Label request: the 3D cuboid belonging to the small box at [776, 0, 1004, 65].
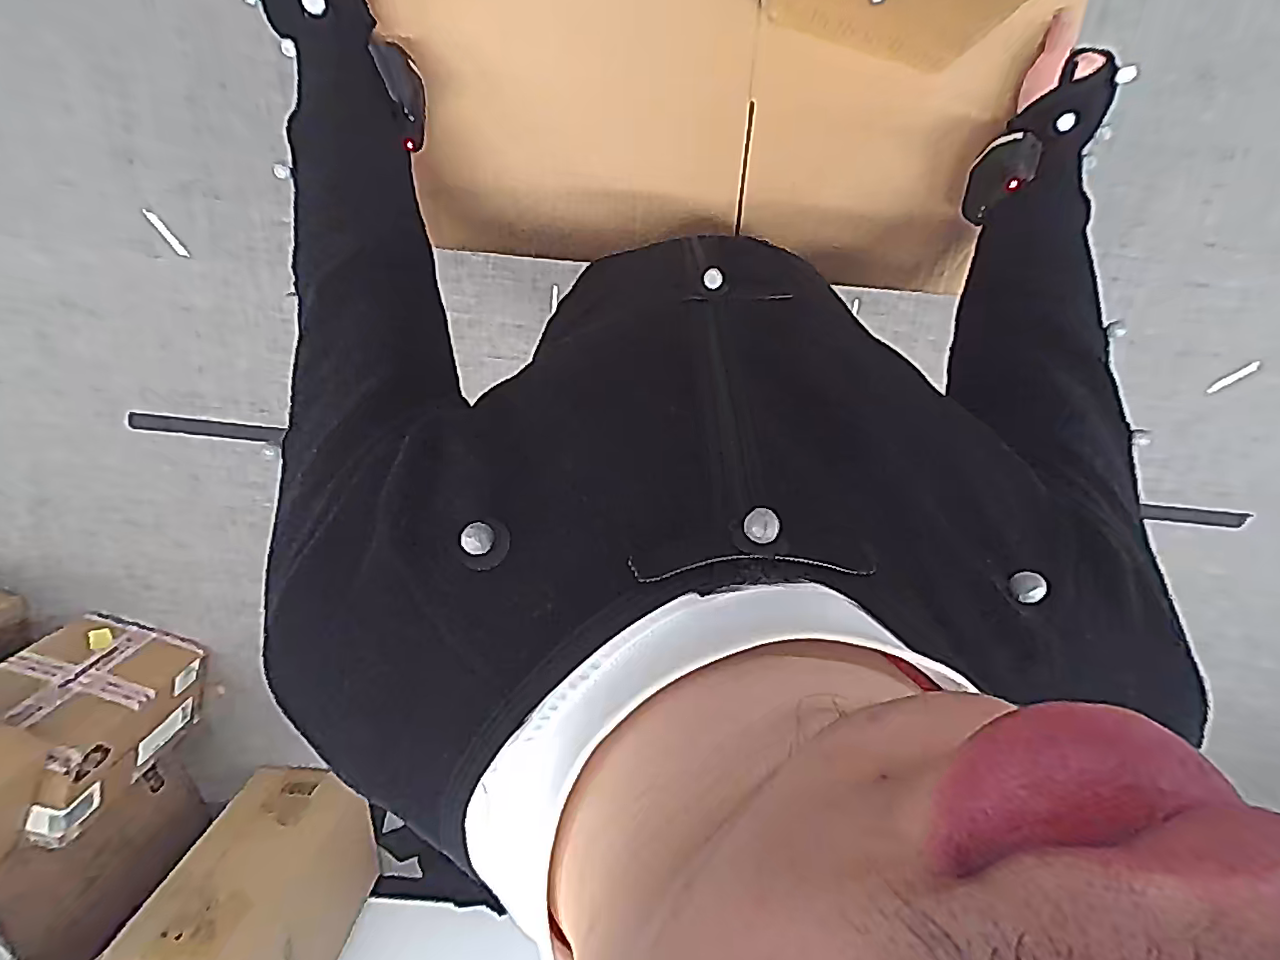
[{"bbox_3d":[0.223,-0.464,0.415,0.179,0.176,0.168,15,106,-3],"label":"small box"}]
